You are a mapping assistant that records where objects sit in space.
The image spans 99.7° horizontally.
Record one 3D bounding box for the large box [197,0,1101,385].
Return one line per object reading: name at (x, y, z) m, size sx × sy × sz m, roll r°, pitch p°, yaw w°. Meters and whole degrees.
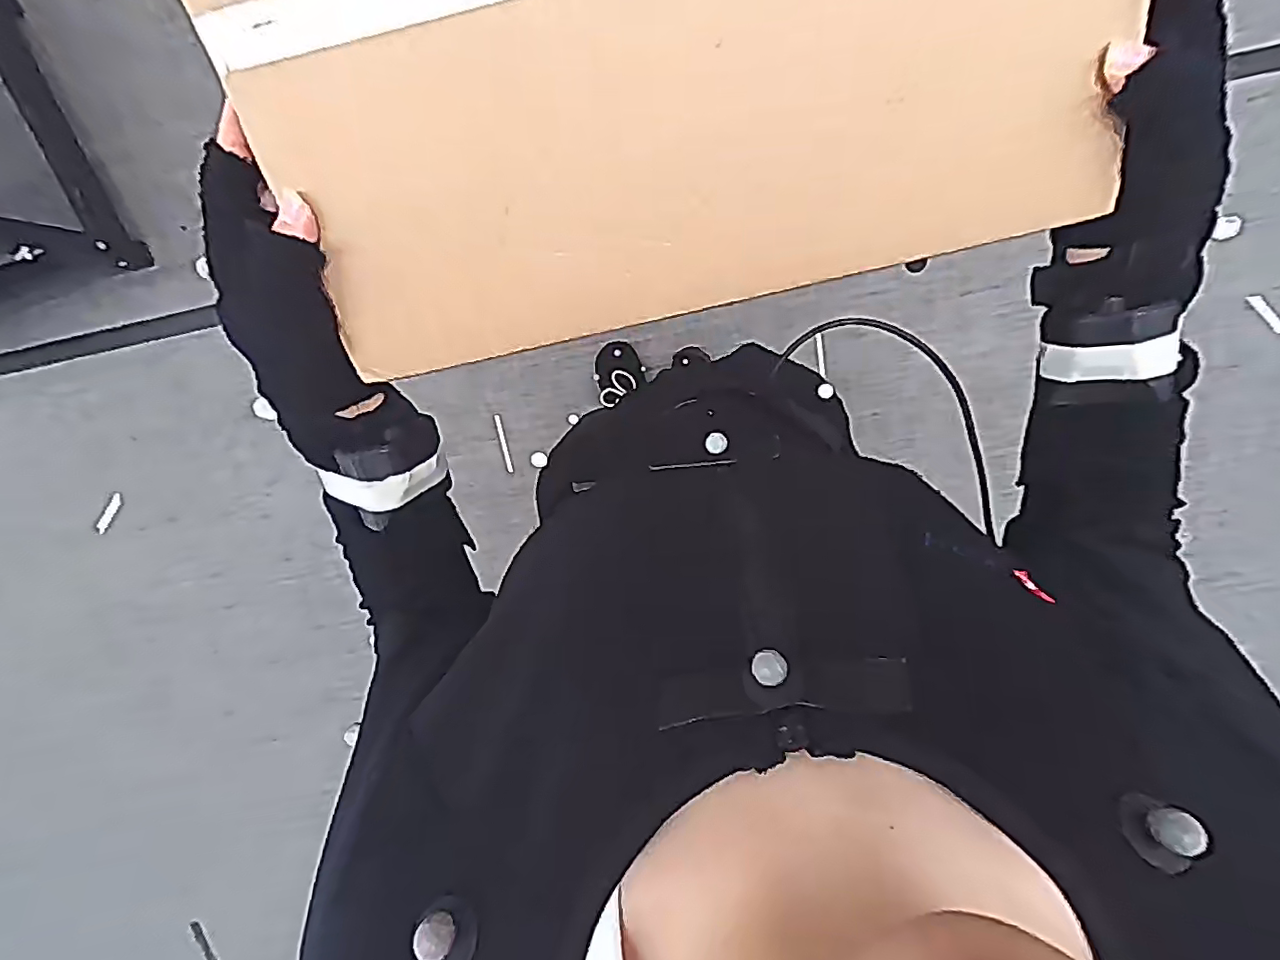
large box at (0.002, -0.297, 0.366) m, size 0.408 × 0.320 × 0.320 m, roll -12°, pitch 116°, yaw 4°
